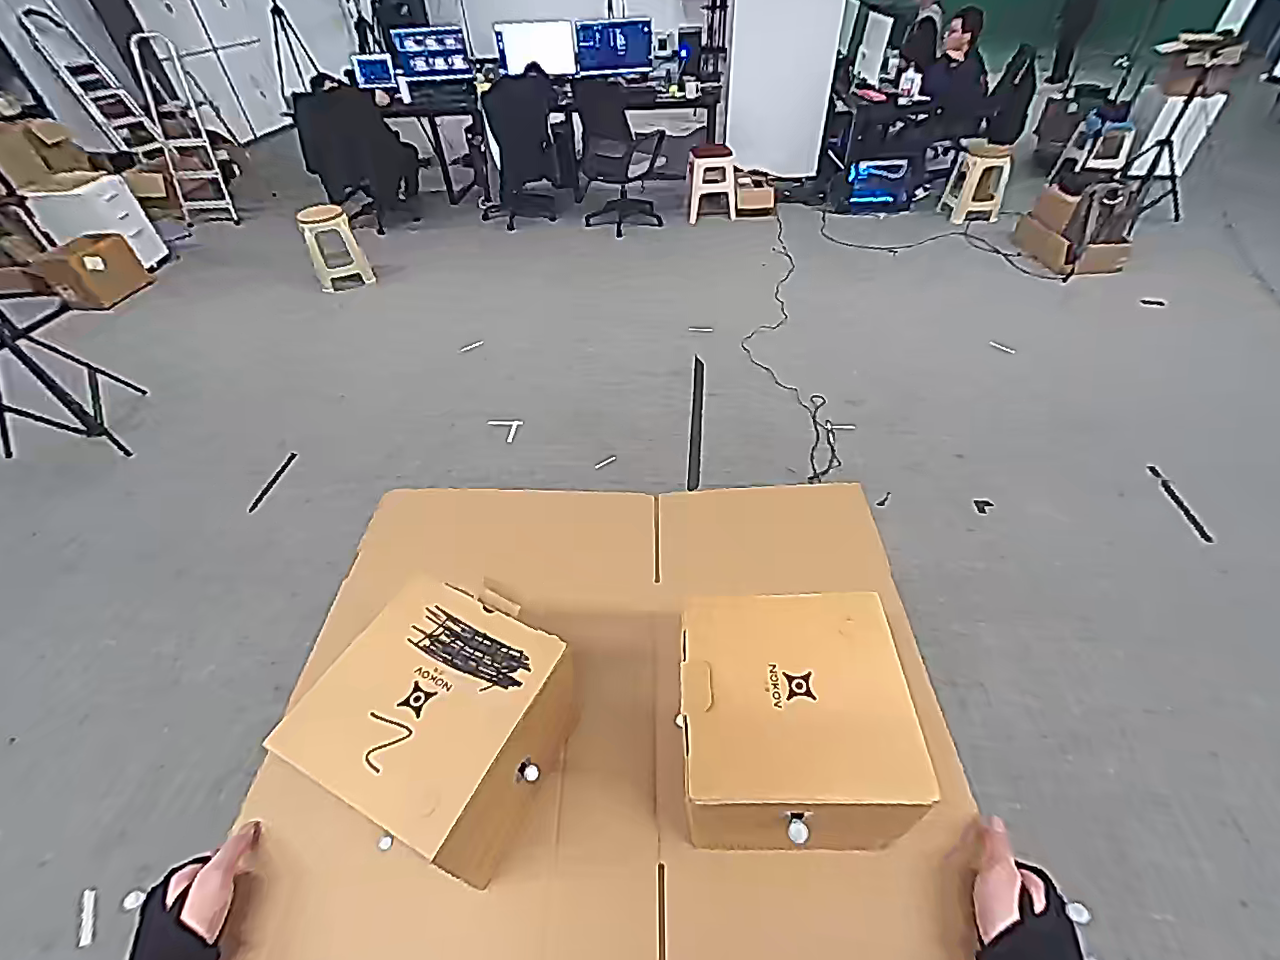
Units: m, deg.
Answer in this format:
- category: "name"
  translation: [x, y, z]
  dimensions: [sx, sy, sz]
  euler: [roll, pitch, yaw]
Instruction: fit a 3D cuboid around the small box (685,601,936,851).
- category: "small box"
  translation: [0.135, 0.229, 0.501]
  dimensions: [0.179, 0.176, 0.168]
  euler: [-5, 46, 6]
